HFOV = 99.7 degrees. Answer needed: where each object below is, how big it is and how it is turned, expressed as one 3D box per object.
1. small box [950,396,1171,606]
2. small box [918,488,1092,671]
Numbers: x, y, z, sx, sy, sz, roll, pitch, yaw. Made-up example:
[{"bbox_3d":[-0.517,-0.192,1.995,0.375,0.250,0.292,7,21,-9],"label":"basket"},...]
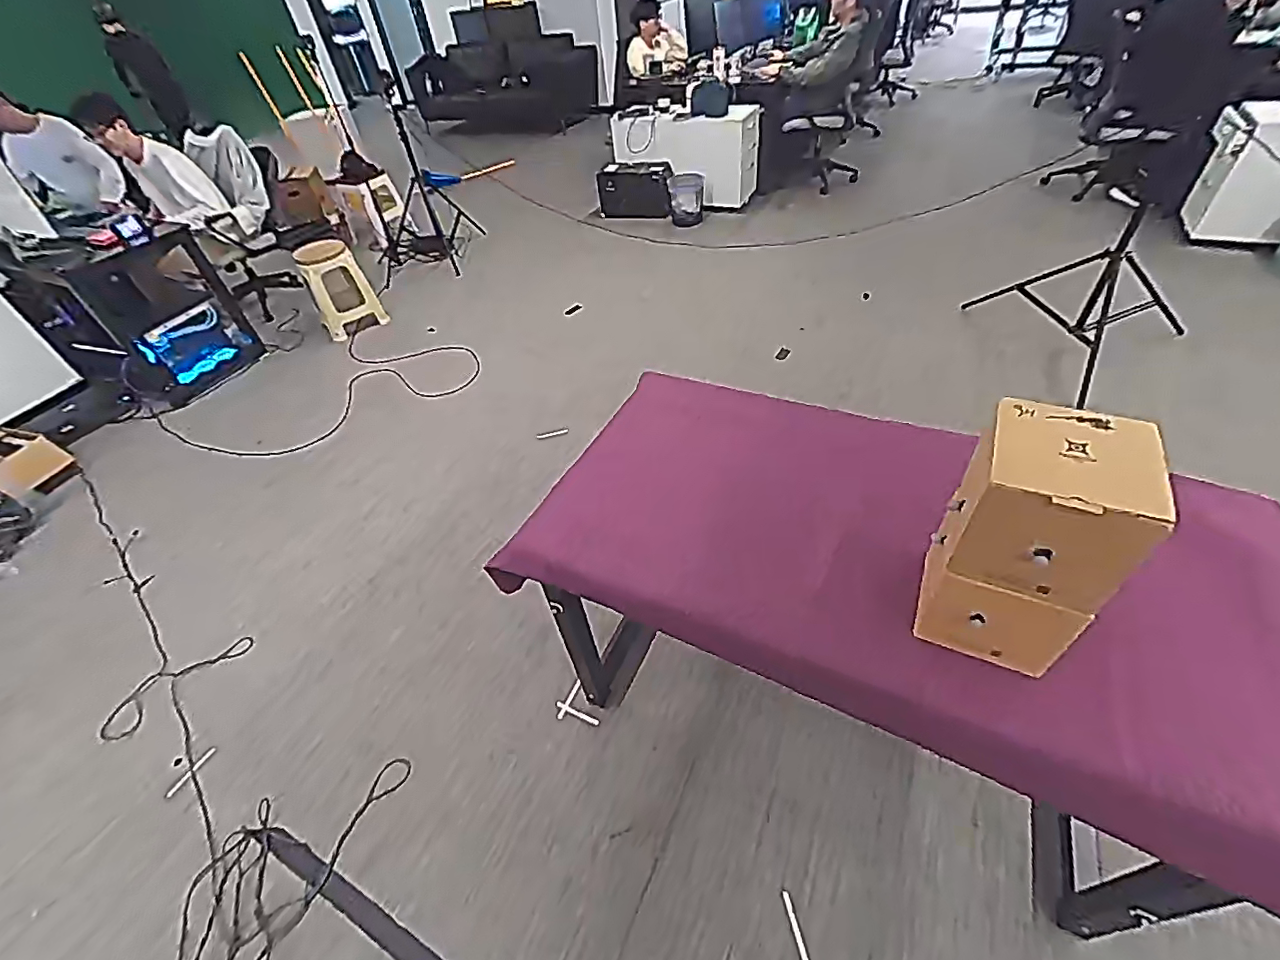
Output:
[{"bbox_3d":[0.505,0.026,0.673,0.168,0.176,0.179,17,50,23],"label":"small box"},{"bbox_3d":[0.519,0.145,0.785,0.168,0.176,0.179,16,49,23],"label":"small box"}]
